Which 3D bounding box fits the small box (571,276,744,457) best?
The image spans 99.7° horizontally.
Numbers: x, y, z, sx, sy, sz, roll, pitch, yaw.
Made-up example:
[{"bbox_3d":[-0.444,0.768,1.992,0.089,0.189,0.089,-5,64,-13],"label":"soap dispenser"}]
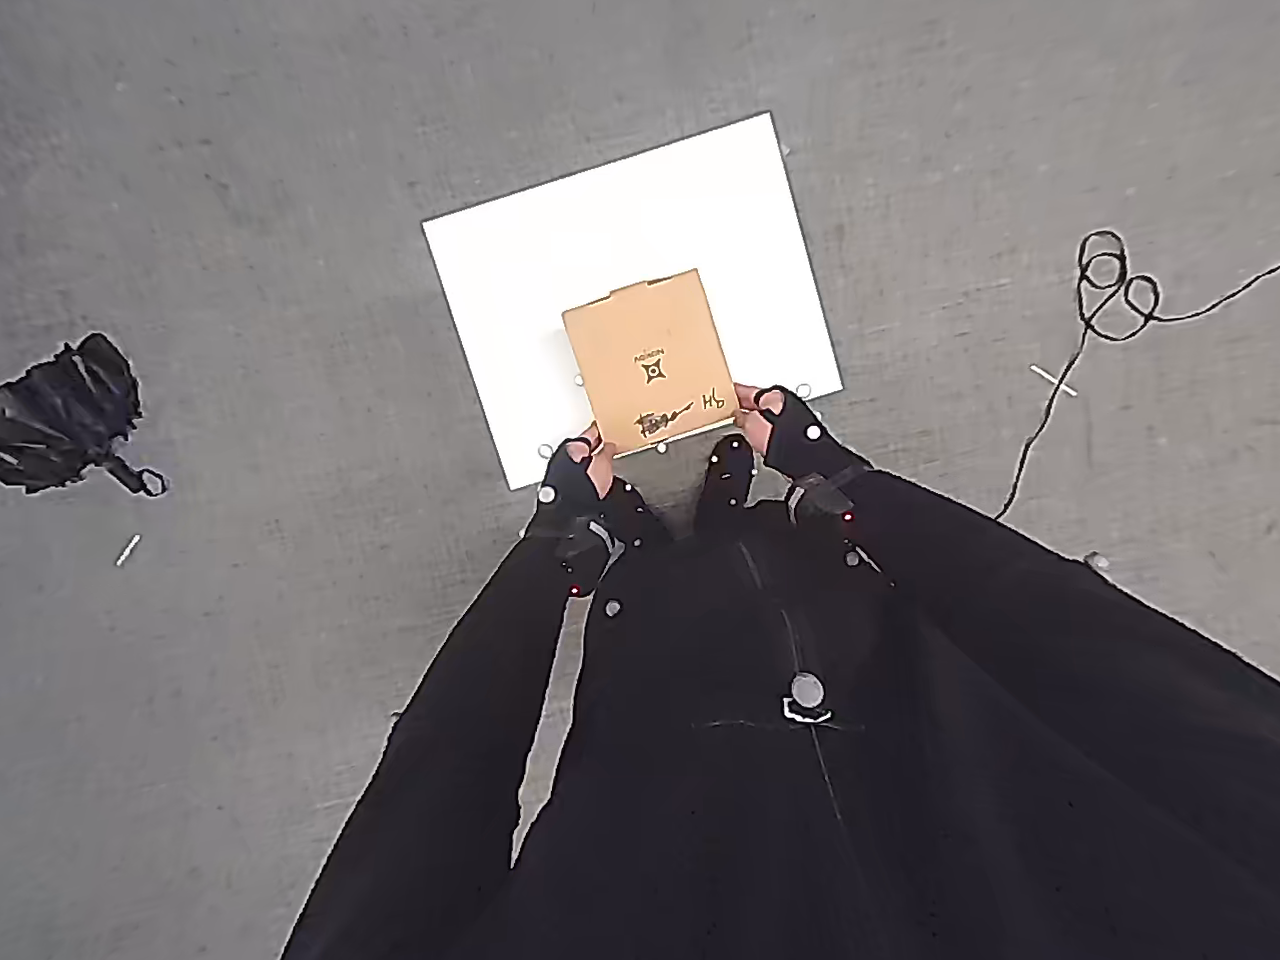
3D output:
[{"bbox_3d":[0.019,-0.135,0.704,0.168,0.176,0.179,-18,94,2],"label":"small box"}]
